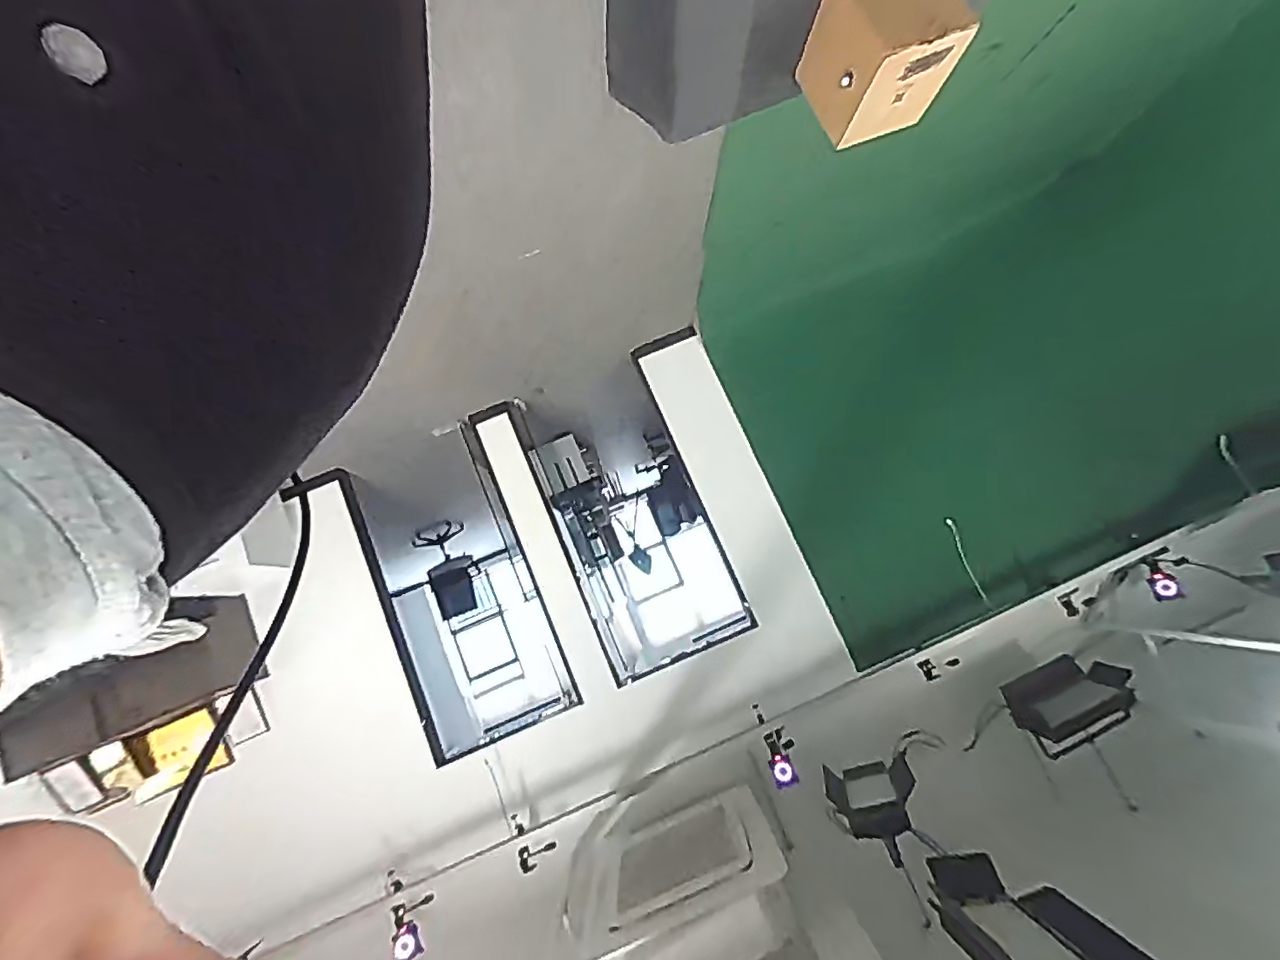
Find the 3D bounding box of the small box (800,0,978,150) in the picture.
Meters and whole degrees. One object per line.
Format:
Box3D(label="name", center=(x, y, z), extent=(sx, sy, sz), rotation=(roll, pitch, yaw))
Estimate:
Box3D(label="small box", center=(0.384, -0.689, 0.871), extent=(0.168, 0.176, 0.179), rotation=(-23, 171, -7))
